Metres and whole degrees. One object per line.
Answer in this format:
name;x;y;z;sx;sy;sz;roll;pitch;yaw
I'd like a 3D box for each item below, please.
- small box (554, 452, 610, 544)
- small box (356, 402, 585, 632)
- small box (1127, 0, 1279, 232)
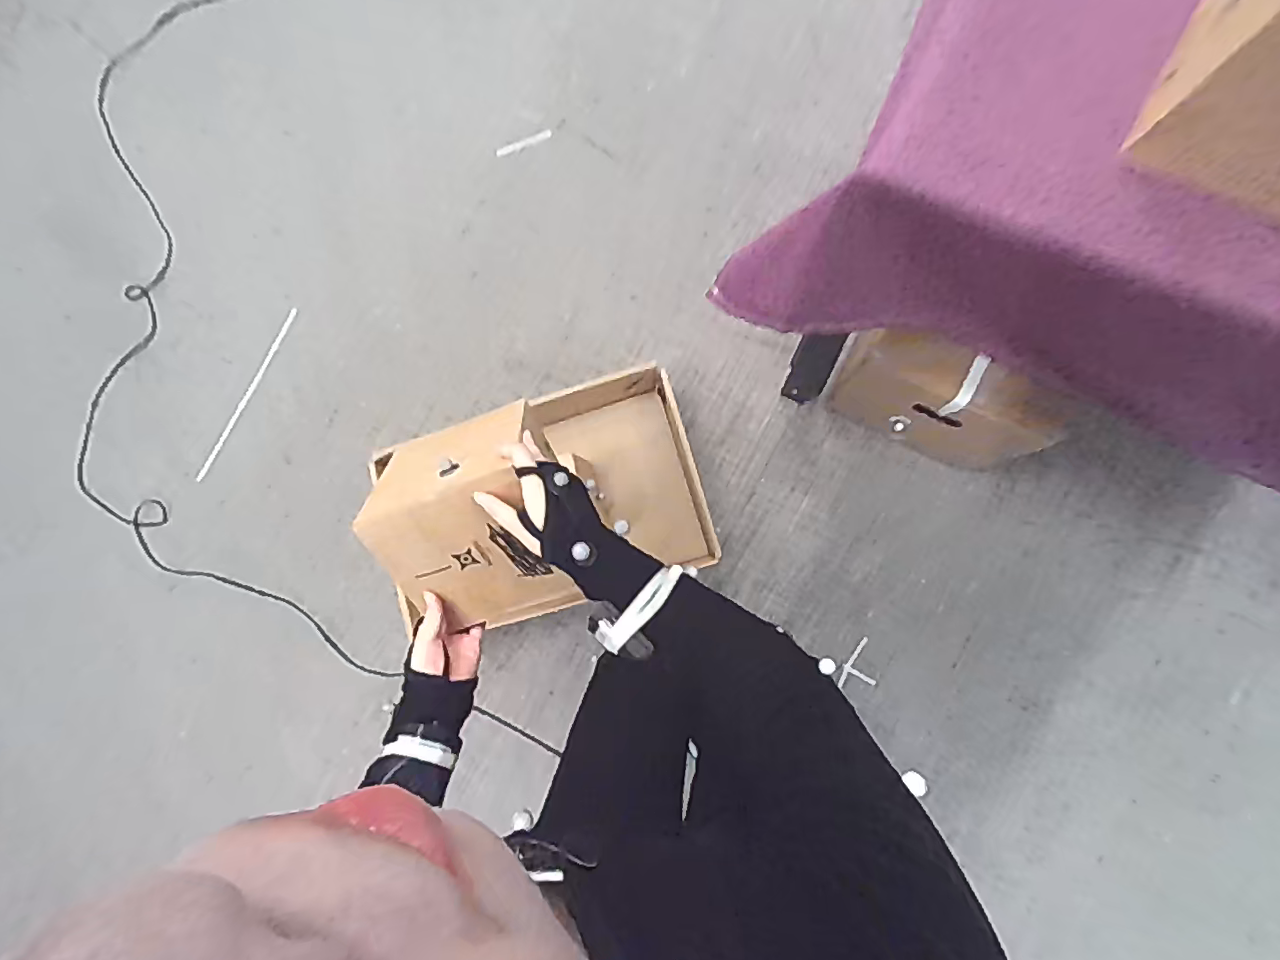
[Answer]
small box;-0.174;0.055;1.077;0.179;0.176;0.168;-17;84;6
small box;-0.176;0.034;0.616;0.179;0.176;0.168;-20;122;5
small box;0.483;-0.288;0.344;0.179;0.176;0.168;29;89;10
